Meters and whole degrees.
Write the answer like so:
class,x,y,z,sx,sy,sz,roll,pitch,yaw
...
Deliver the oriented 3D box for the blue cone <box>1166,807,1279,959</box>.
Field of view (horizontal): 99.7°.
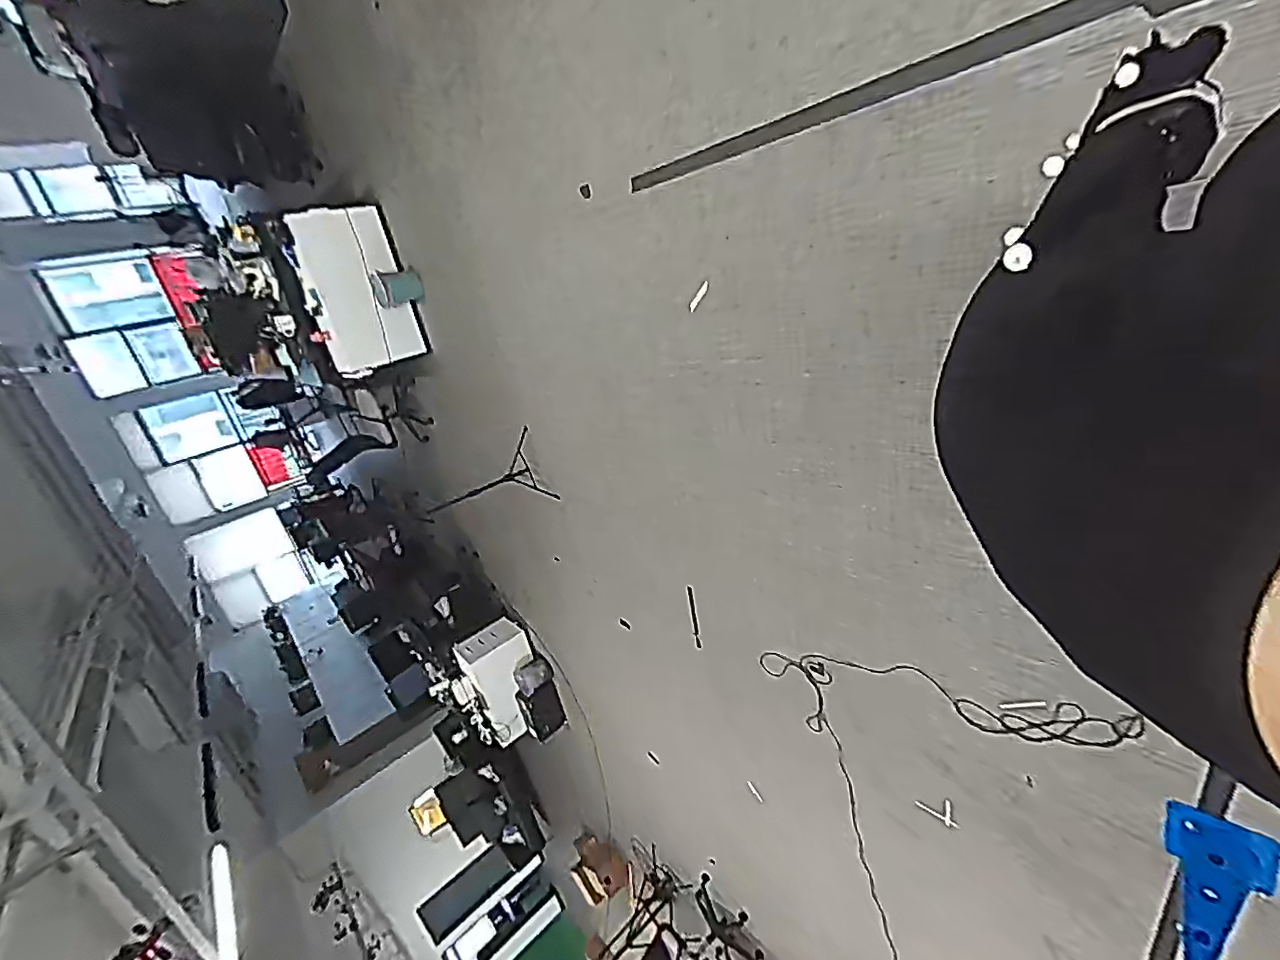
class,x,y,z,sx,sy,sz,roll,pitch,yaw
blue cone,1.352,1.000,1.279,0.192,0.380,0.193,9,121,49
